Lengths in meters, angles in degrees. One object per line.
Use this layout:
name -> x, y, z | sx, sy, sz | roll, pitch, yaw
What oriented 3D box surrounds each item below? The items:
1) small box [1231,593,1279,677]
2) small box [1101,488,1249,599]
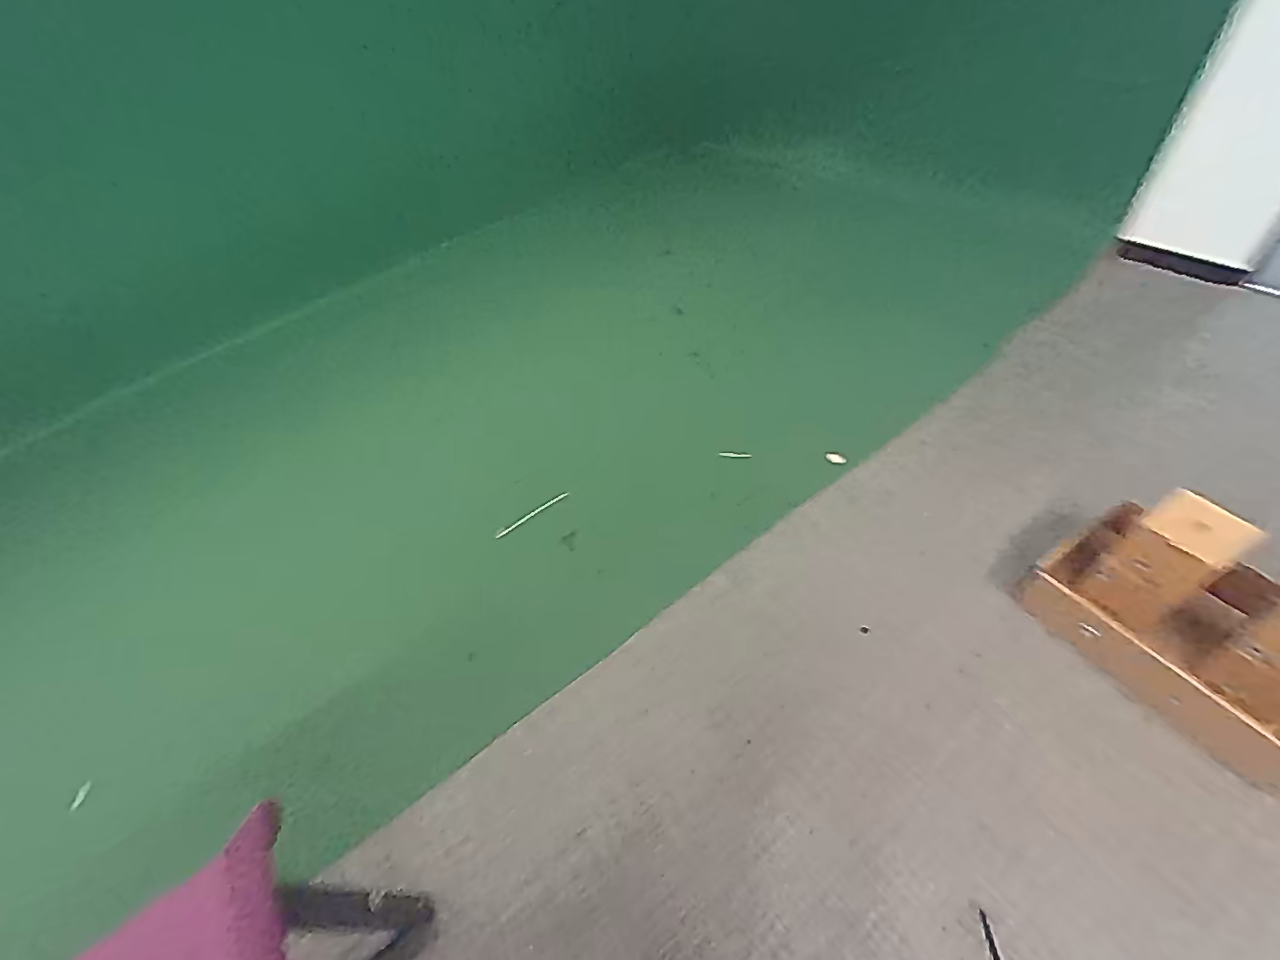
small box -> 1.443, 0.328, 1.156 | 0.179, 0.176, 0.168 | -28, 49, -14
small box -> 1.299, 0.158, 1.329 | 0.179, 0.176, 0.168 | -30, 52, -15
